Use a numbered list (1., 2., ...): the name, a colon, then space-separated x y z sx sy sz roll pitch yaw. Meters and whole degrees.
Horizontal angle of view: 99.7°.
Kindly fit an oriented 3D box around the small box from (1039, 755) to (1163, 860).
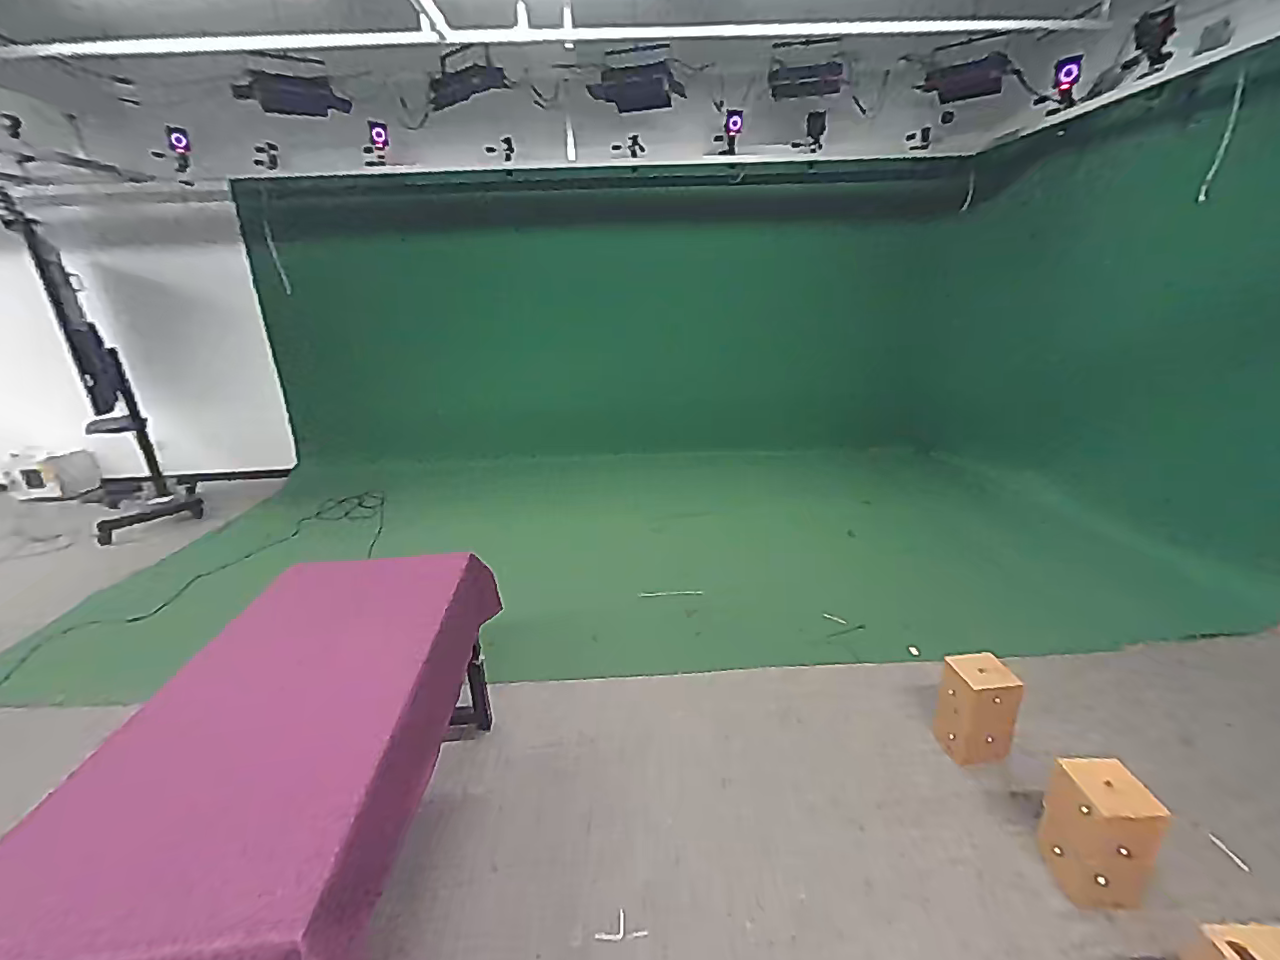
1. small box: 1.205 0.863 1.432 0.168 0.176 0.179 -1 20 2

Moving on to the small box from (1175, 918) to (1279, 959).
1. small box: 1.203 0.998 1.050 0.179 0.176 0.168 -1 20 2

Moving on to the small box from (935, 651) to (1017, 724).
1. small box: 1.141 0.713 1.855 0.179 0.176 0.168 -3 21 -4

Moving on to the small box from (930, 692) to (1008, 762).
1. small box: 1.150 0.869 1.909 0.179 0.176 0.168 -3 20 -3
